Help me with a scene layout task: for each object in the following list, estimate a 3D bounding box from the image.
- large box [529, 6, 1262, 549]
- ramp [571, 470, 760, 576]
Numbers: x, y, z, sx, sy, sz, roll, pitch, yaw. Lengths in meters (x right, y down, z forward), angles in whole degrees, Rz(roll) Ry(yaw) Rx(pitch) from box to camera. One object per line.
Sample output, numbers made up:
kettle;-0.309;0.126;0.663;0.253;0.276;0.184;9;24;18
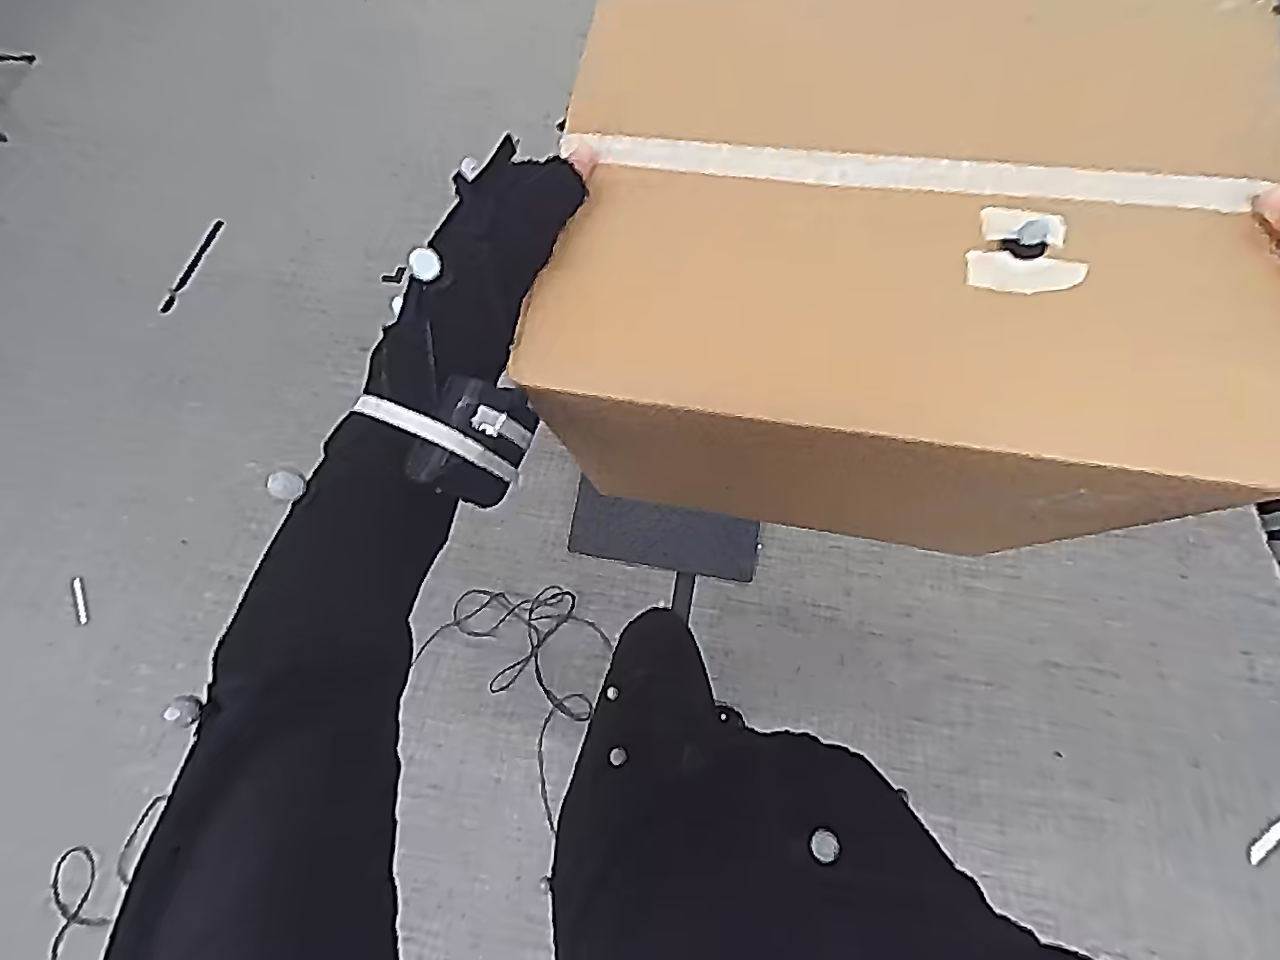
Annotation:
large box;0.160;-0.134;0.477;0.408;0.320;0.320;9;78;7
ramp;0.132;-0.266;1.502;0.509;0.206;0.991;7;71;5
